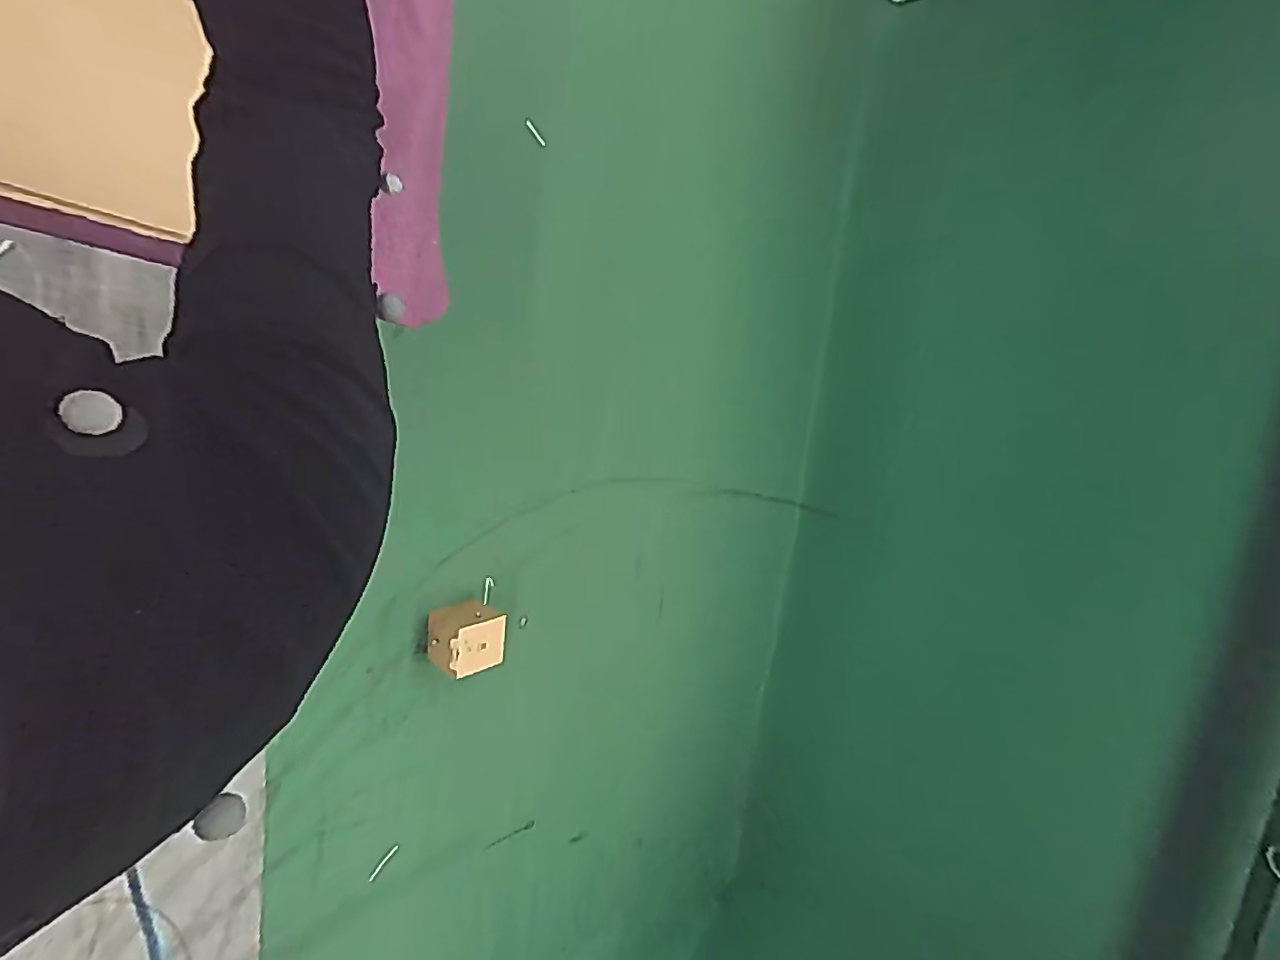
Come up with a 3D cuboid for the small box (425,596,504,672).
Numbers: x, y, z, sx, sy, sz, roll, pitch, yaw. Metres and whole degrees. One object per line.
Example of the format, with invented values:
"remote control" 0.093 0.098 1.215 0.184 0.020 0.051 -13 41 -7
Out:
"small box" -0.568 0.490 1.751 0.179 0.176 0.168 -4 103 -50
